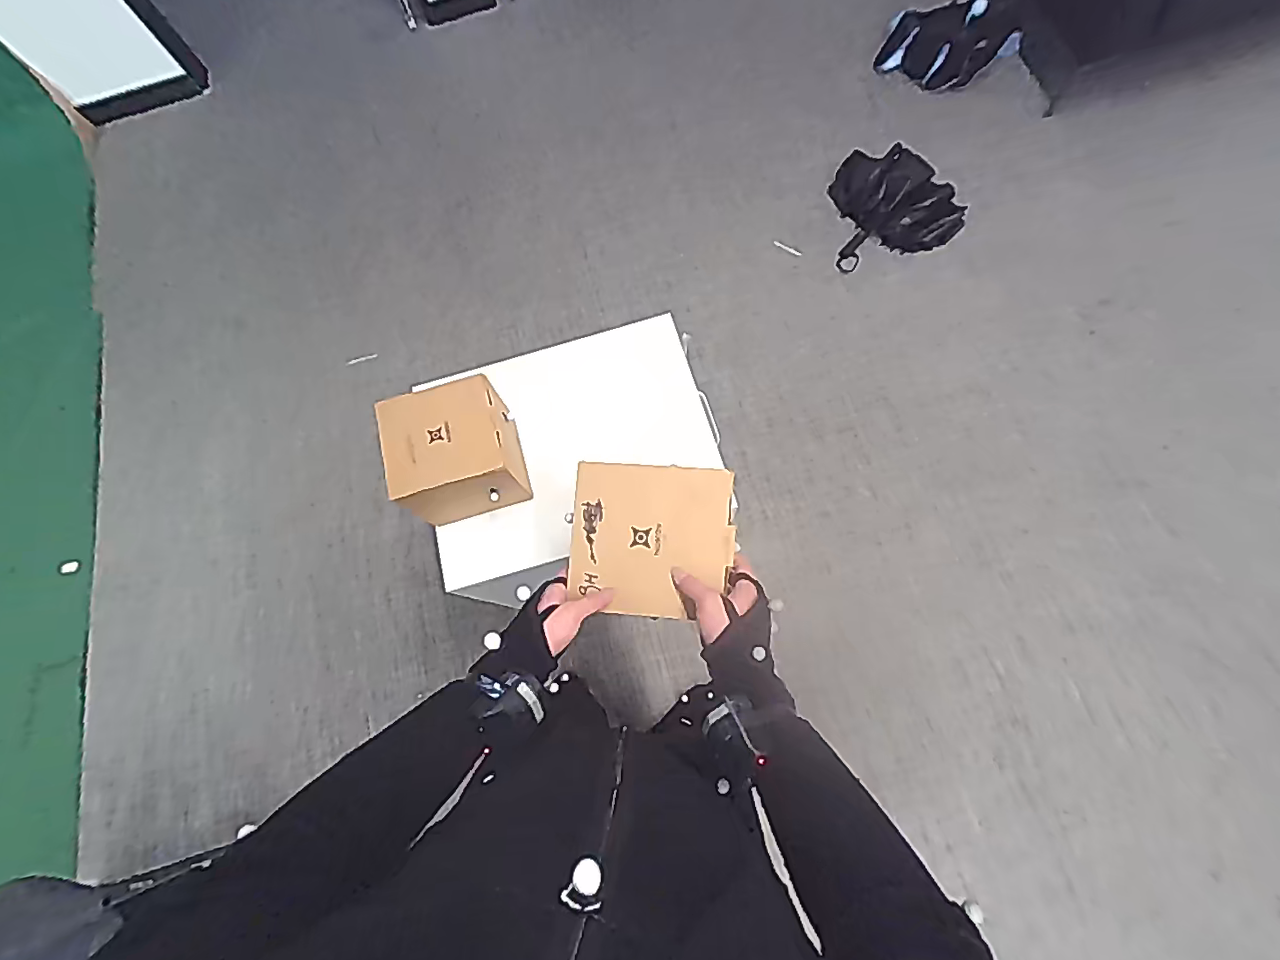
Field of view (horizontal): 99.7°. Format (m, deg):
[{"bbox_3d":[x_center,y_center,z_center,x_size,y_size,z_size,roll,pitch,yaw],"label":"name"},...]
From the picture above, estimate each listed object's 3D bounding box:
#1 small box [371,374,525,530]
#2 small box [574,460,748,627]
[{"bbox_3d":[-0.291,-0.037,0.853,0.179,0.176,0.168,-17,70,-4],"label":"small box"},{"bbox_3d":[0.028,0.077,0.654,0.179,0.176,0.168,4,80,4],"label":"small box"}]
